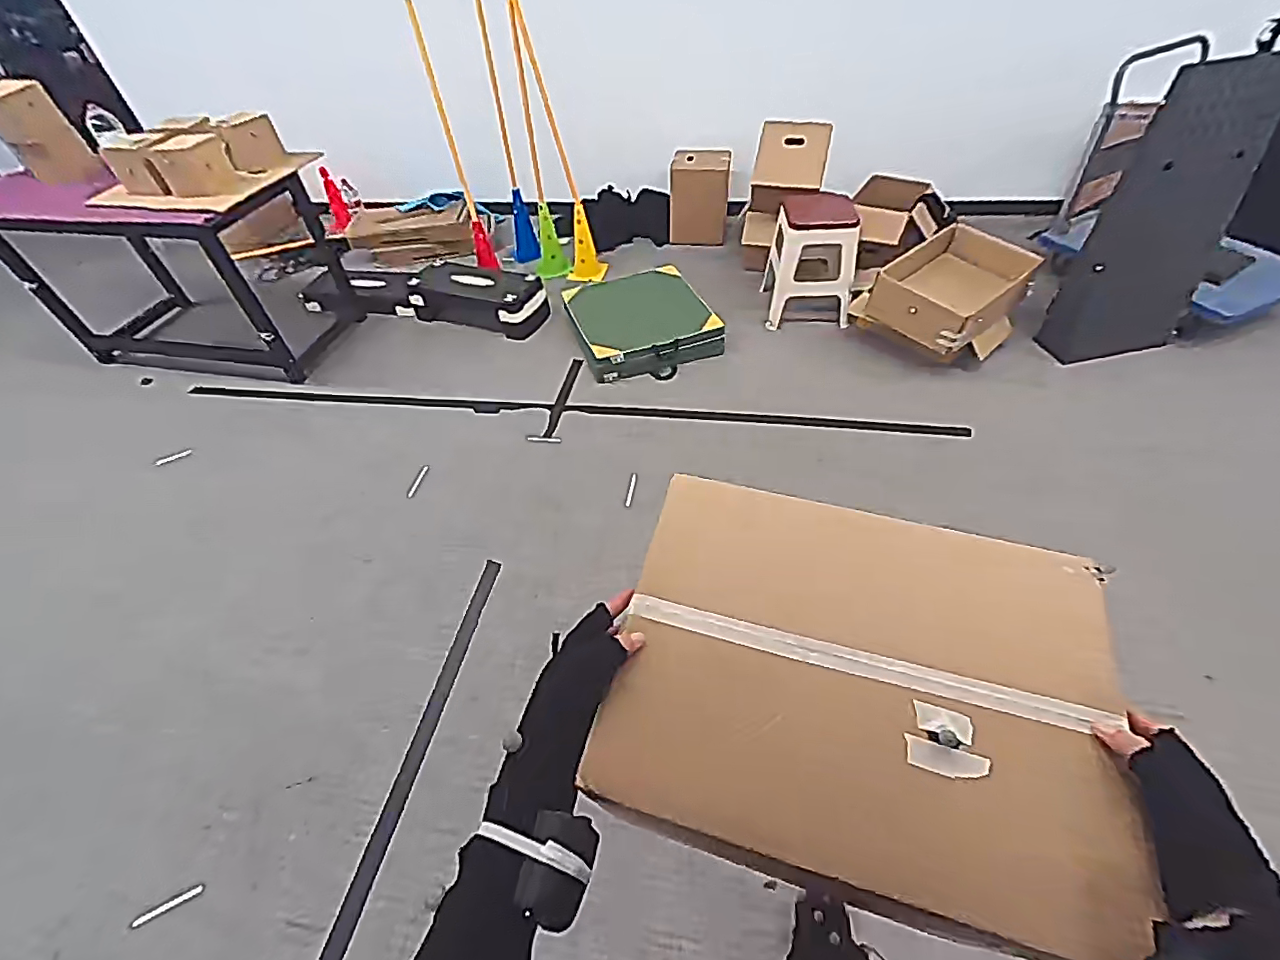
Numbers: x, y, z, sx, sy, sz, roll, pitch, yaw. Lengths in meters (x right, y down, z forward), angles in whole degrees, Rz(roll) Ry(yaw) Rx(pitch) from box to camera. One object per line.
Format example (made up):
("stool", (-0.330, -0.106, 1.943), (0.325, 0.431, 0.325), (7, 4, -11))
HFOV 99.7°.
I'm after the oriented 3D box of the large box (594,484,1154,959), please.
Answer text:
("large box", (0.199, 0.248, 0.597), (0.408, 0.320, 0.320), (13, 57, 12))
